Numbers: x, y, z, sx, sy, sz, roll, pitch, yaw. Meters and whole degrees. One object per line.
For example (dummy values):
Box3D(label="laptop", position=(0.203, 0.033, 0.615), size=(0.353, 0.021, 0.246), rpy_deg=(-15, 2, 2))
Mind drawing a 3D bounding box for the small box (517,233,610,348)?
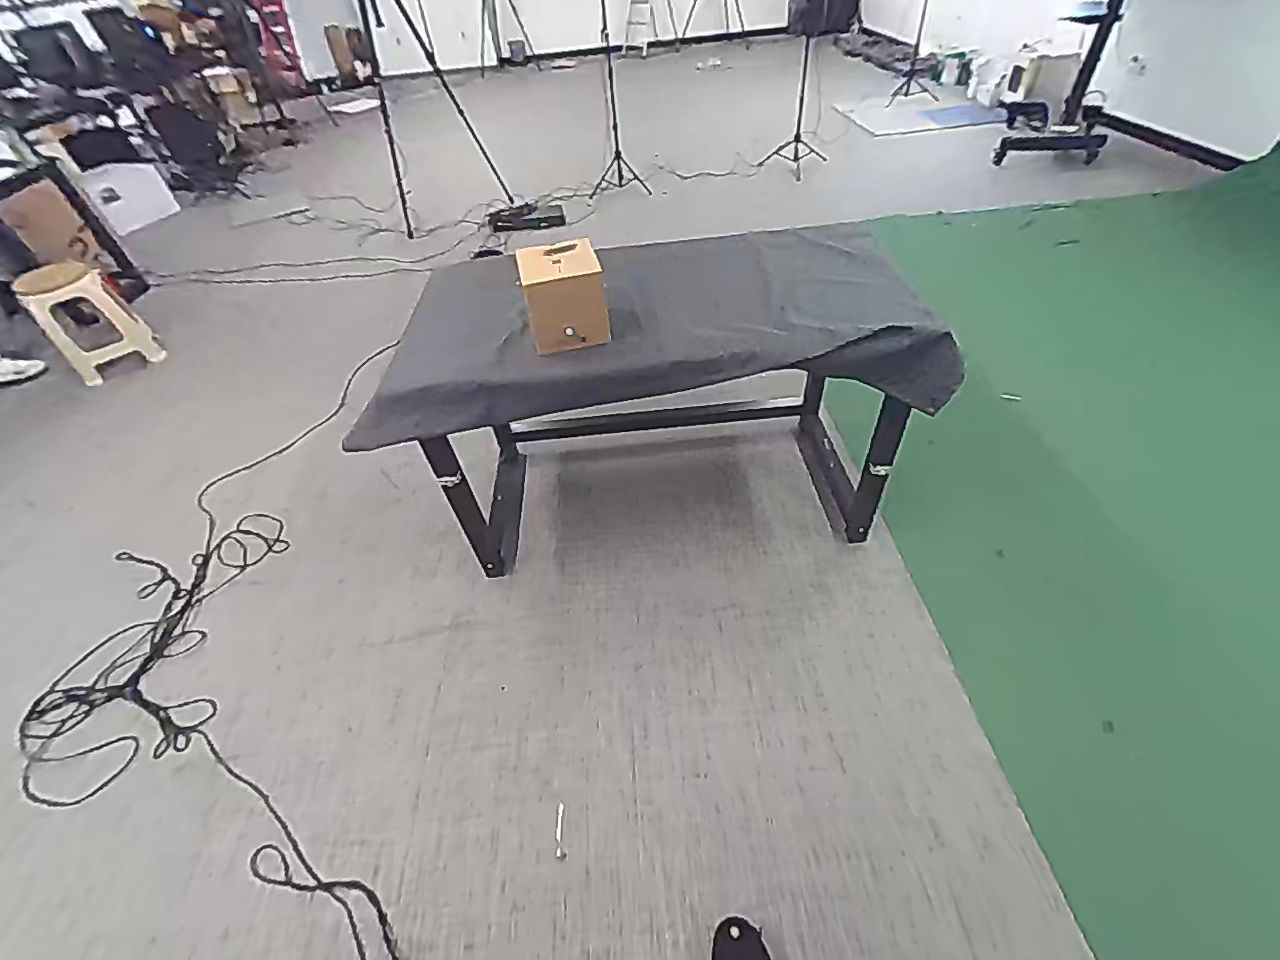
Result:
Box3D(label="small box", position=(-0.167, -0.416, 1.187), size=(0.168, 0.176, 0.179), rpy_deg=(-13, 47, -6))
